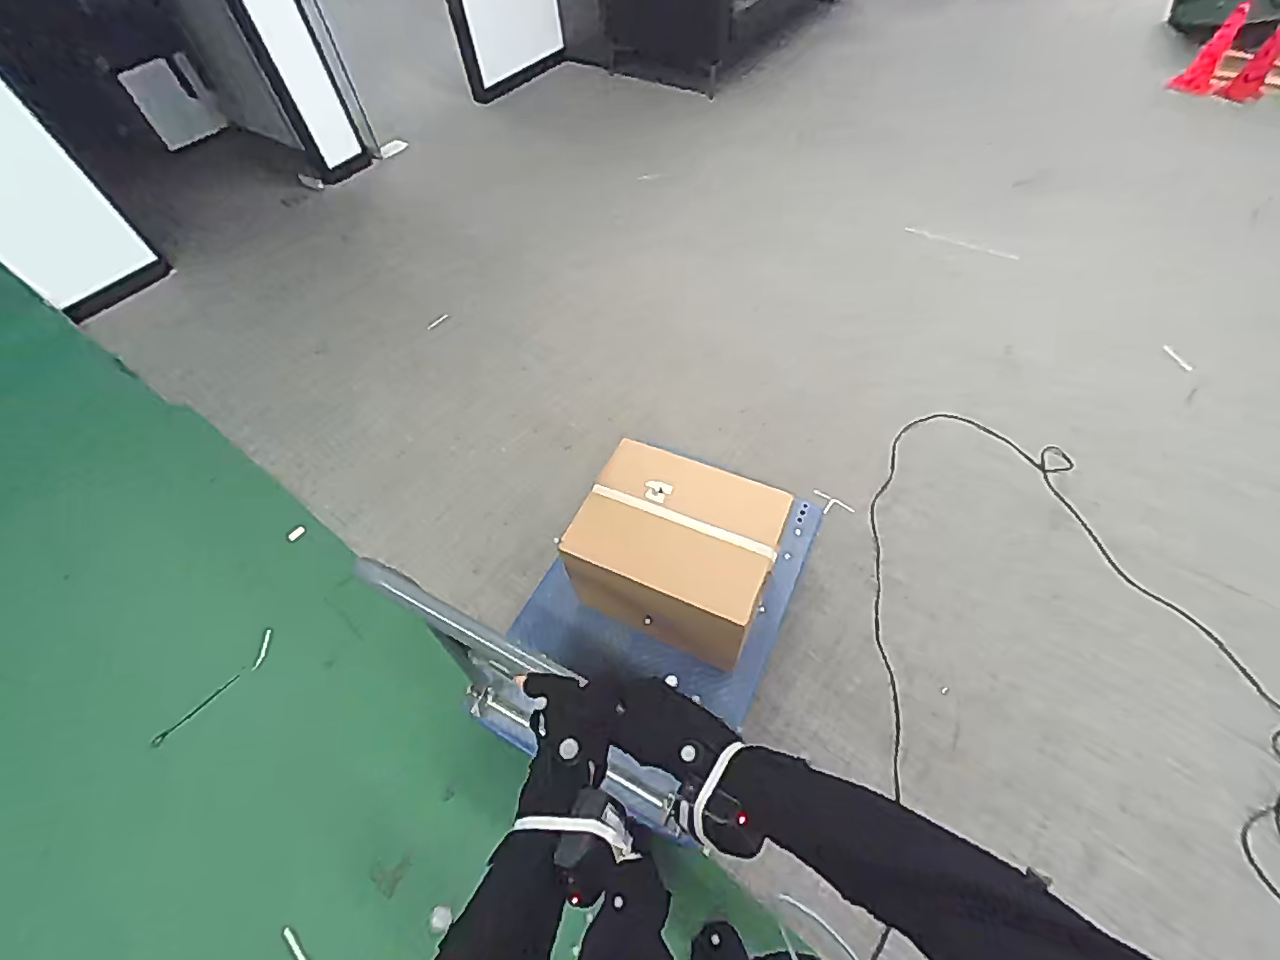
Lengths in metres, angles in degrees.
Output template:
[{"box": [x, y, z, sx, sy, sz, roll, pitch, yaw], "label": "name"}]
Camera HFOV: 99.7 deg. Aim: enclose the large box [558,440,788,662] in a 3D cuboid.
[{"box": [0.085, 0.165, 1.239, 0.408, 0.320, 0.320, 19, 59, 17], "label": "large box"}]
